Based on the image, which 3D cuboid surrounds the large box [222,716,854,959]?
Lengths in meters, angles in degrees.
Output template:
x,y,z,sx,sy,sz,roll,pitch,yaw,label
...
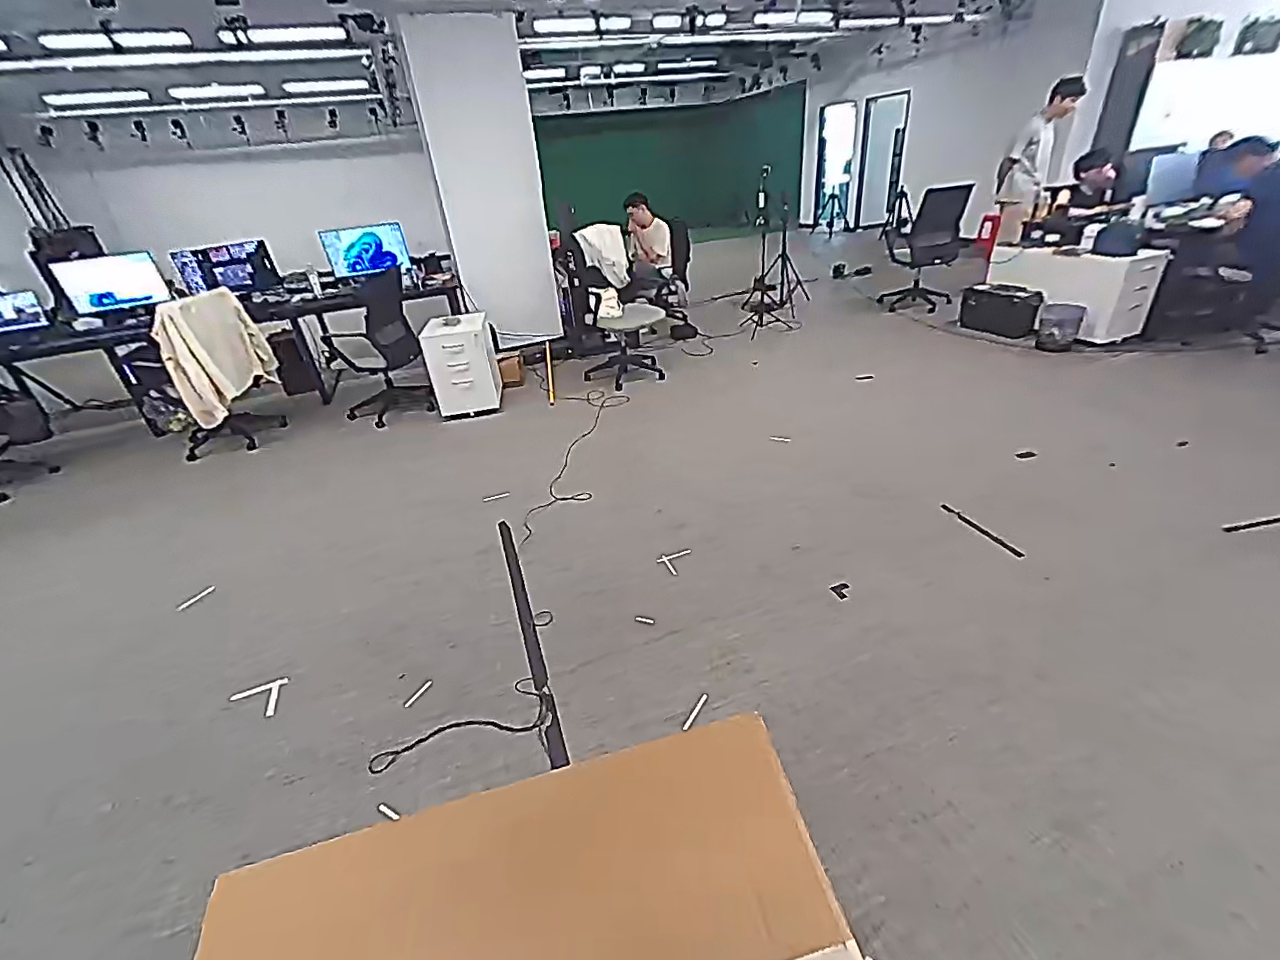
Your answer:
x,y,z,sx,sy,sz,roll,pitch,yaw,label
-0.046,0.445,0.408,0.408,0.320,0.320,-14,46,-6,large box
